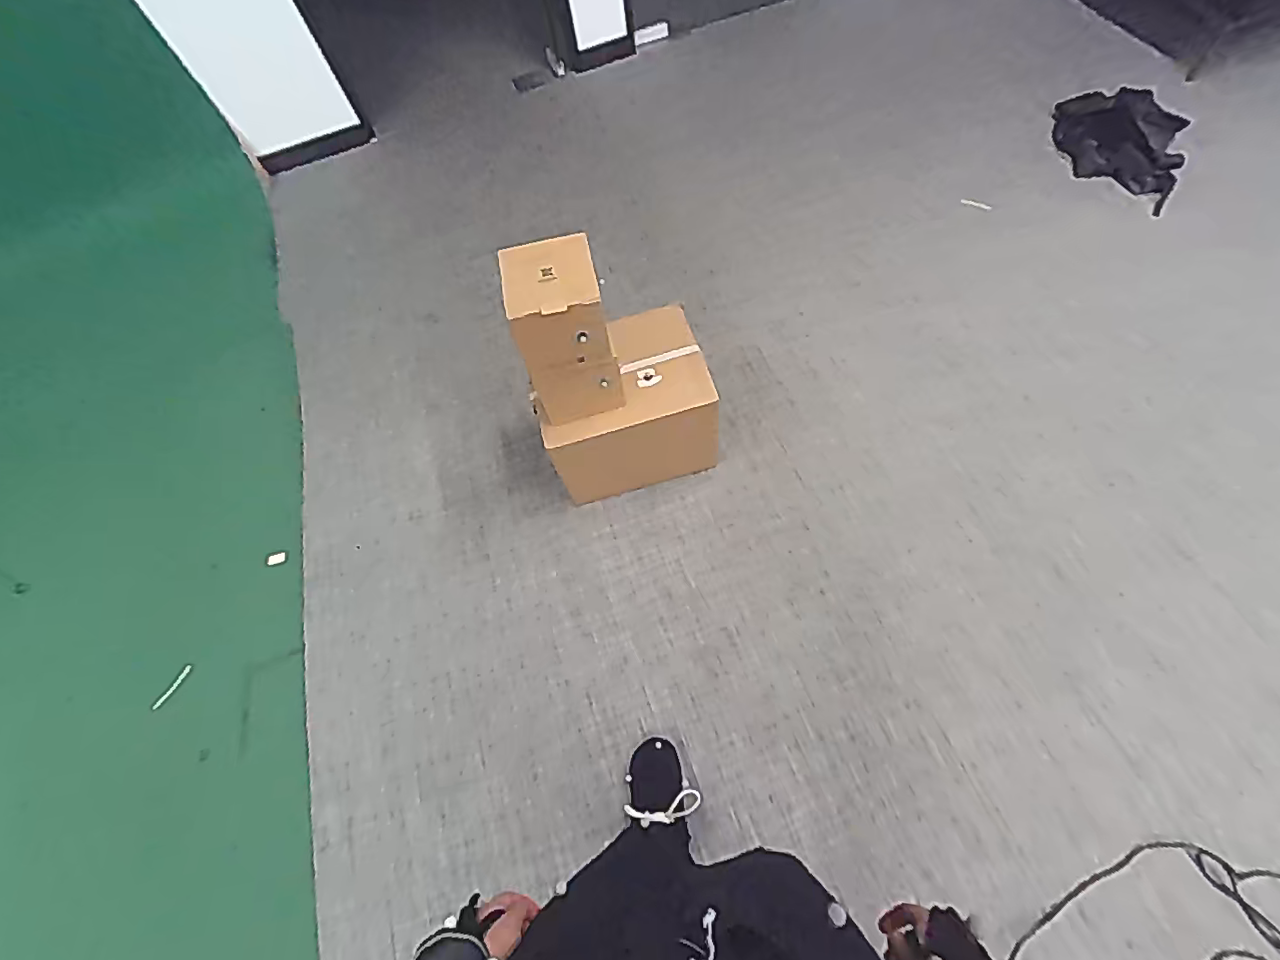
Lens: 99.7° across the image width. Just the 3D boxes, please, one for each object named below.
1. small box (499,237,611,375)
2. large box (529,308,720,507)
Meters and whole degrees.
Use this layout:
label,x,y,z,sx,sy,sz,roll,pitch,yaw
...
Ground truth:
label,x,y,z,sx,sy,sz,roll,pitch,yaw
small box,-0.155,-0.317,1.019,0.168,0.176,0.179,-13,61,-2
large box,-0.038,-0.174,1.392,0.408,0.320,0.320,-16,63,-2
